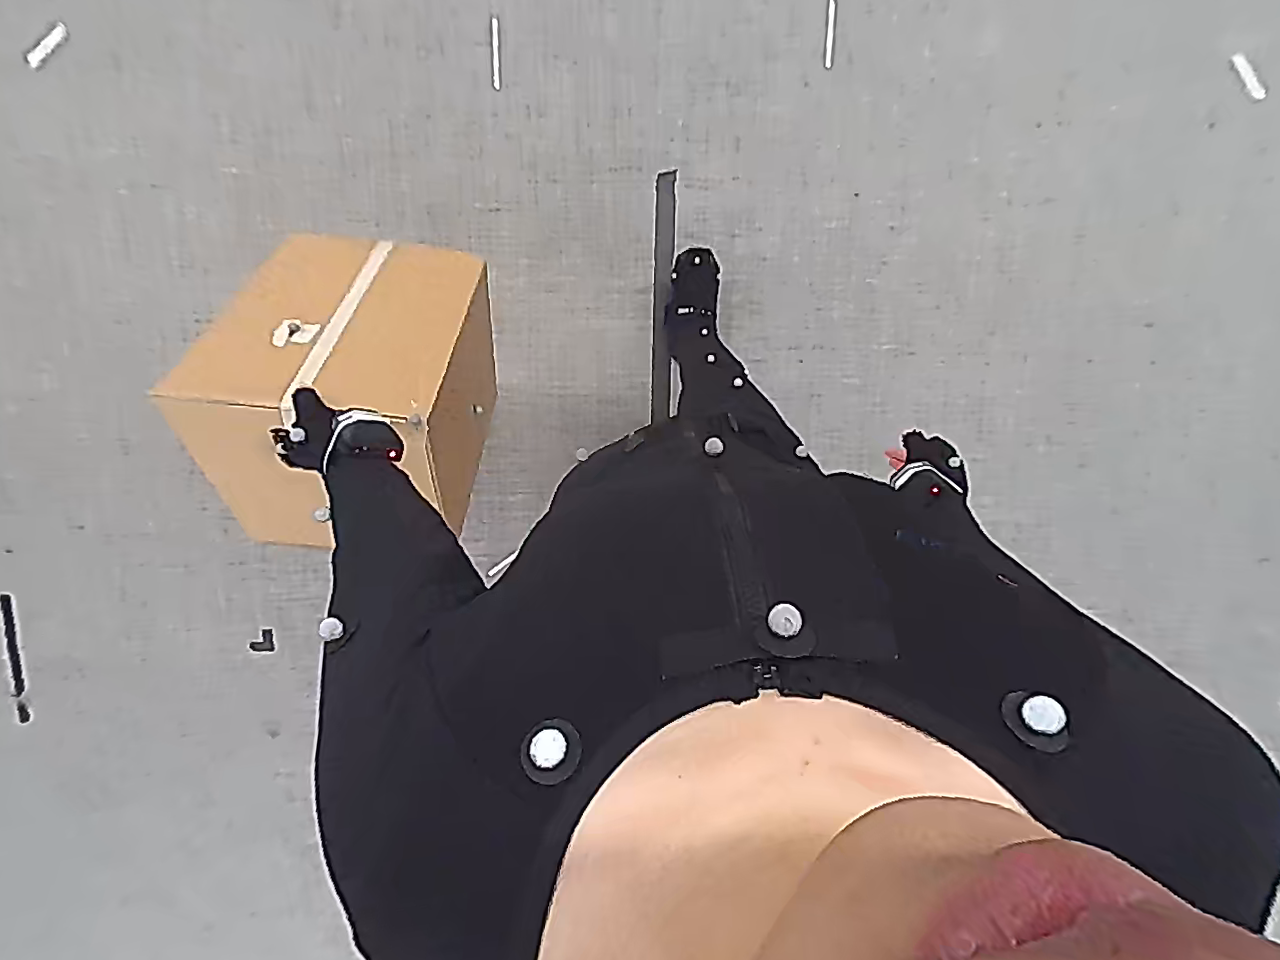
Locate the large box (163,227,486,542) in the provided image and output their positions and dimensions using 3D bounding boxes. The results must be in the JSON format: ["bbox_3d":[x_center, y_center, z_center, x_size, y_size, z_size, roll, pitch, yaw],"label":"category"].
[{"bbox_3d":[-0.447,-0.153,0.897,0.320,0.408,0.320,5,142,-6],"label":"large box"}]
